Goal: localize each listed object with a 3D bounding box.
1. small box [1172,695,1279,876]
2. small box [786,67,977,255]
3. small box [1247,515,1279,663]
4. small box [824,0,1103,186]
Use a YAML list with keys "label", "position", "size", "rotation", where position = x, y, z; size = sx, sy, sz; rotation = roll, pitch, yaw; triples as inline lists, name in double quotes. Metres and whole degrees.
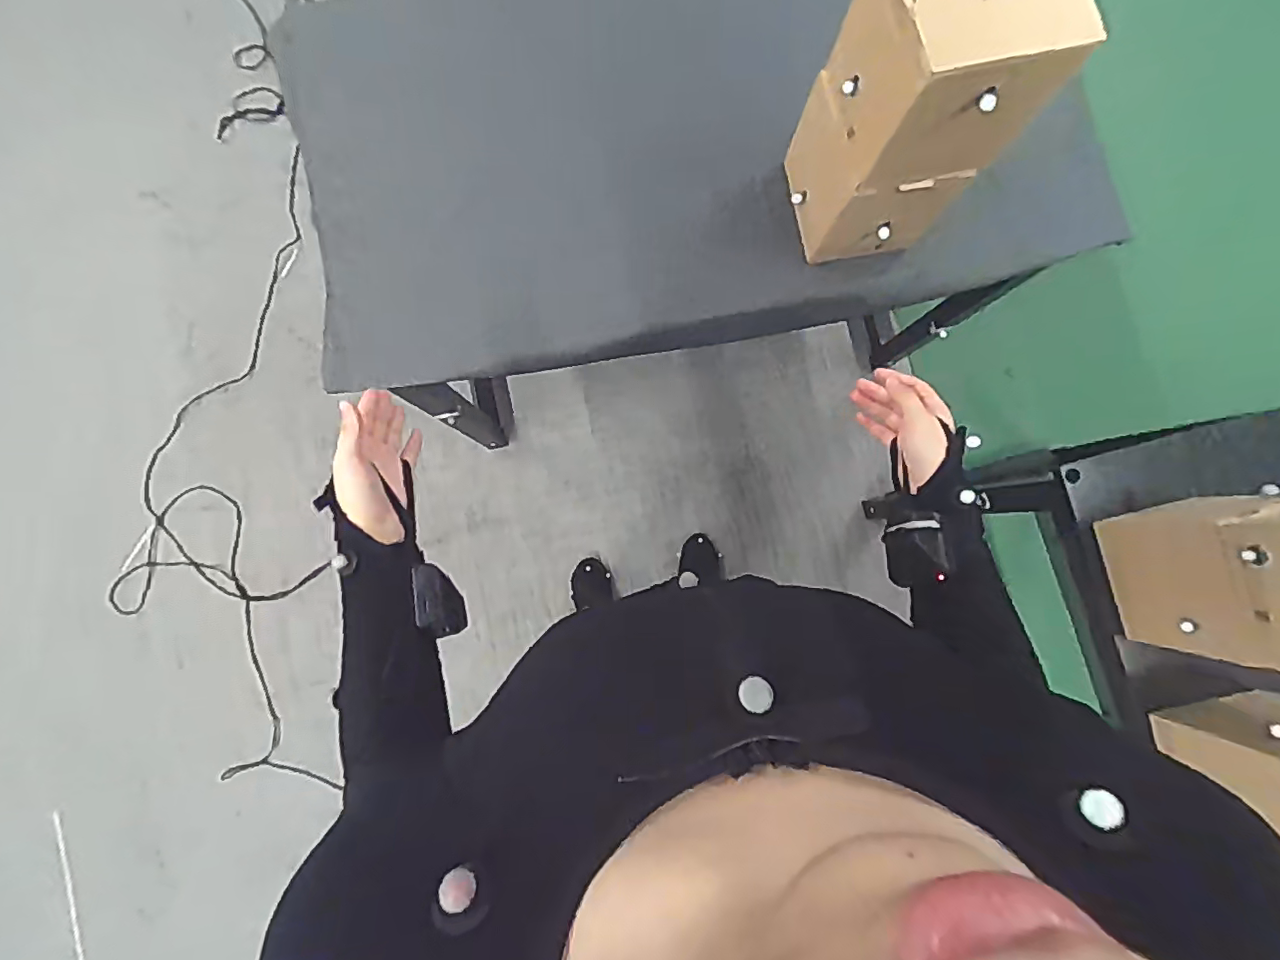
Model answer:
- label: "small box"
  position: [0.828, 0.388, 0.675]
  size: [0.179, 0.176, 0.168]
  rotation: [-11, 86, -2]
- label: "small box"
  position: [0.316, -0.433, 0.744]
  size: [0.168, 0.176, 0.179]
  rotation: [-11, 84, -1]
- label: "small box"
  position: [0.775, 0.109, 0.535]
  size: [0.179, 0.176, 0.168]
  rotation: [-11, 86, -3]
- label: "small box"
  position: [0.326, -0.455, 0.583]
  size: [0.179, 0.176, 0.168]
  rotation: [-13, 83, -1]
